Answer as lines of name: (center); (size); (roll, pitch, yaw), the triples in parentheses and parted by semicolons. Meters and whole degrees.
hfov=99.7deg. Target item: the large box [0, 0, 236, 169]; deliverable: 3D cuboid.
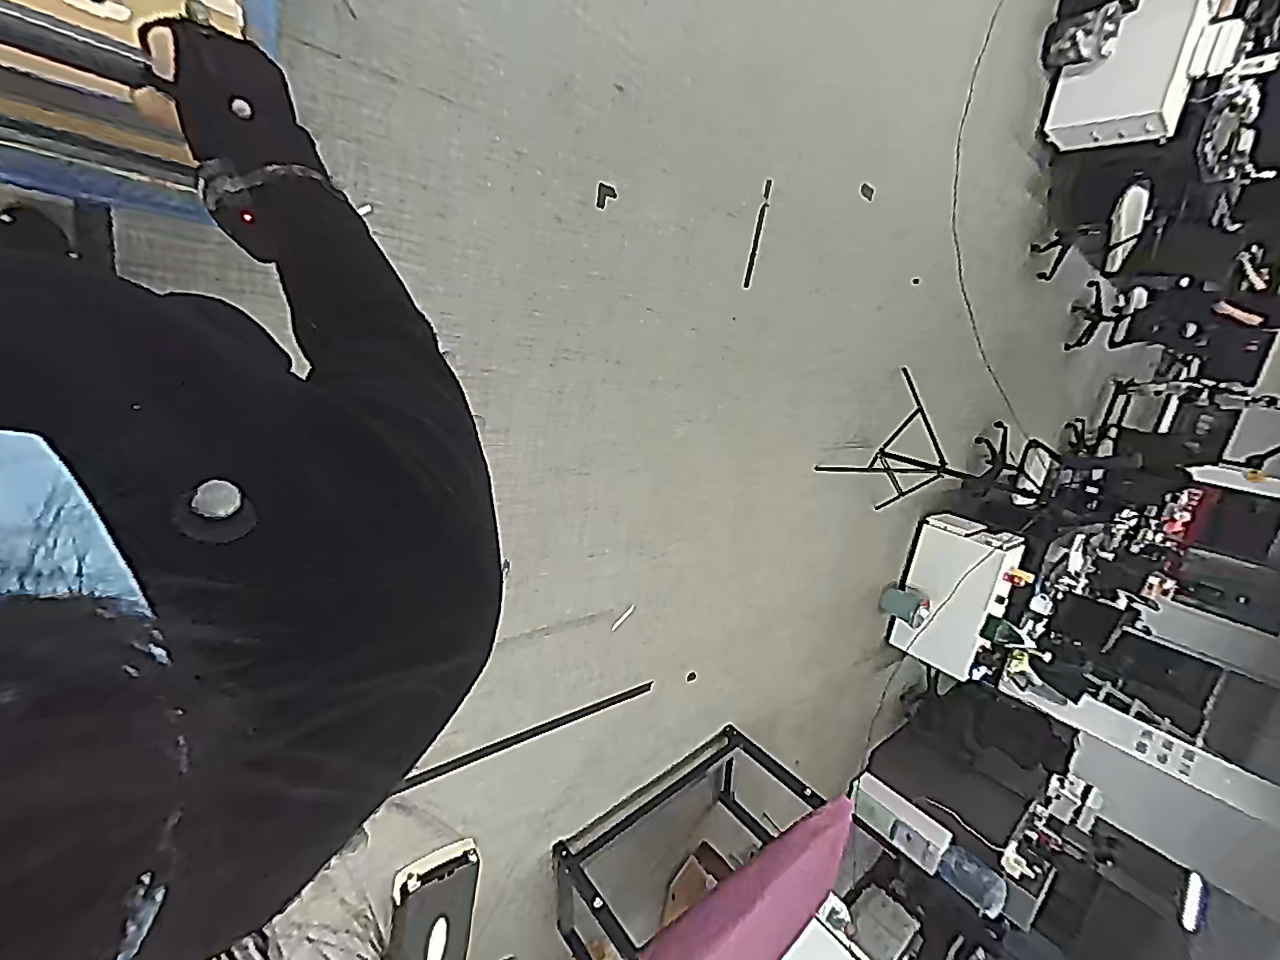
large box: (-0.778, -0.642, 0.681); (0.408, 0.320, 0.320); (-2, 108, -42)
